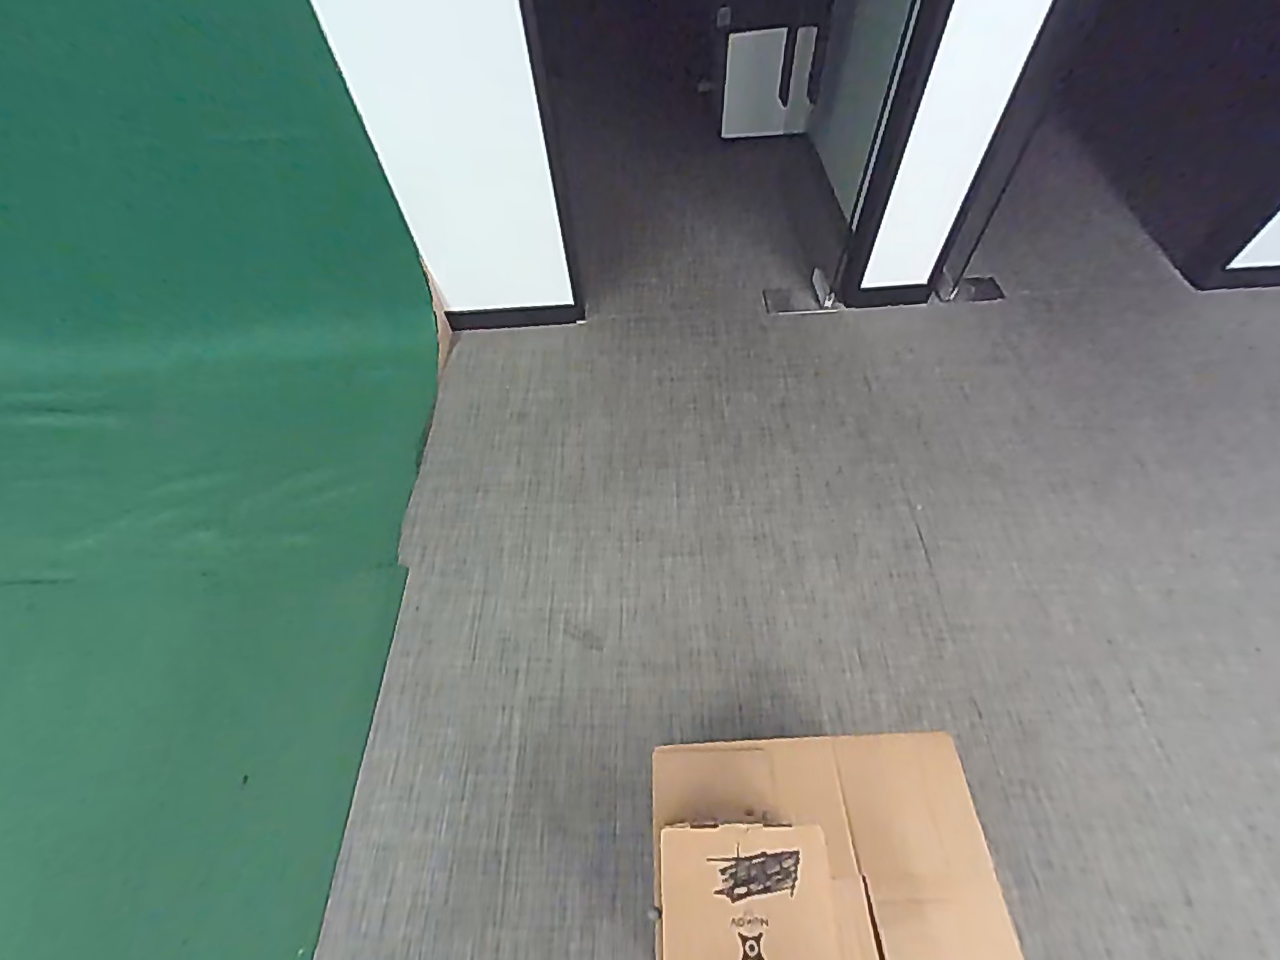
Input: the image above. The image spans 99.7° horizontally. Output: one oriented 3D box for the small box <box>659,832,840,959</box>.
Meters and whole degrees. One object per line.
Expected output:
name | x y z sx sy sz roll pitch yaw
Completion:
small box | 0.104 0.476 0.569 0.168 0.176 0.179 -2 58 2
